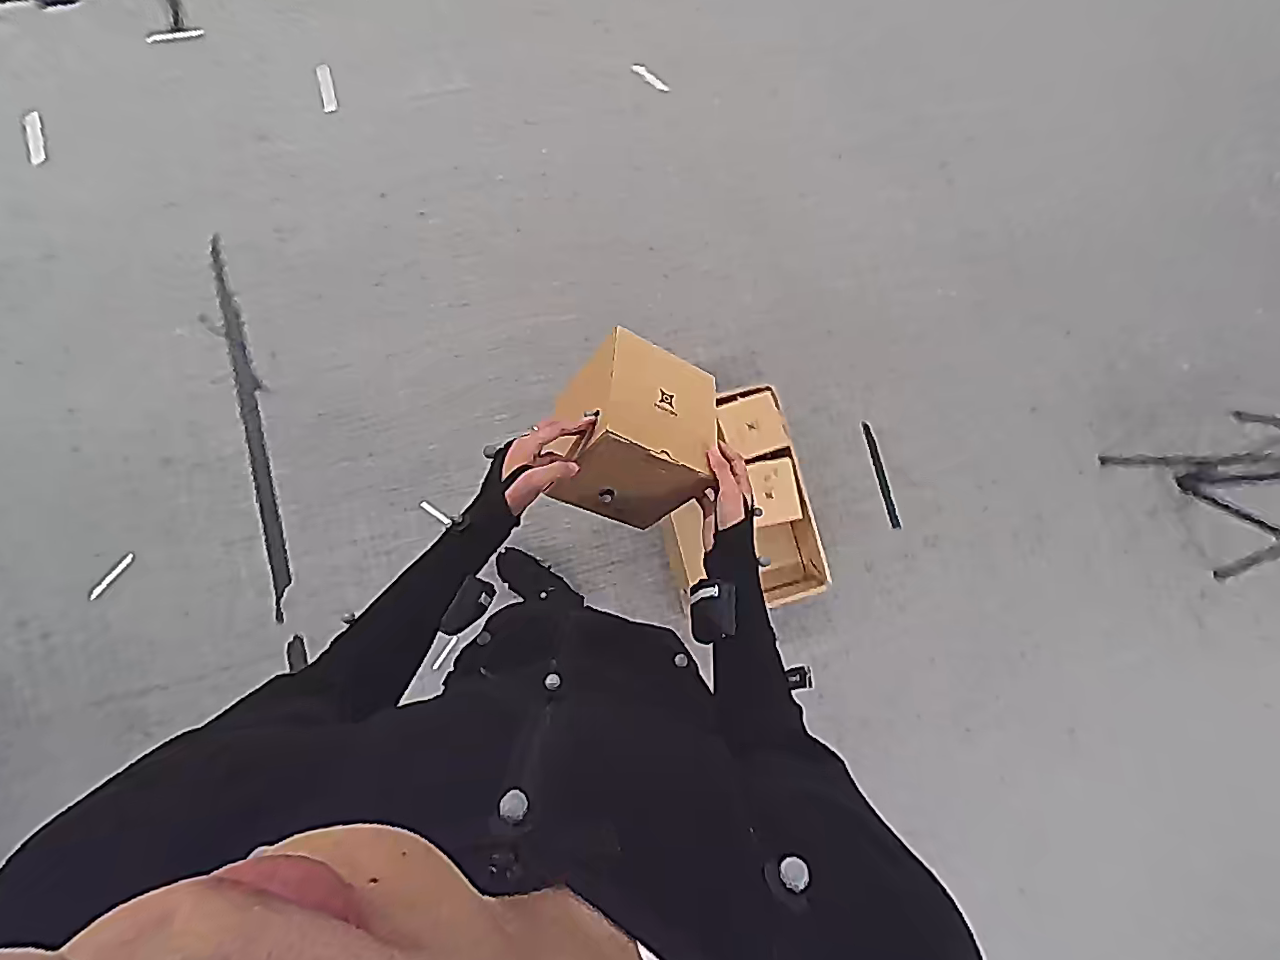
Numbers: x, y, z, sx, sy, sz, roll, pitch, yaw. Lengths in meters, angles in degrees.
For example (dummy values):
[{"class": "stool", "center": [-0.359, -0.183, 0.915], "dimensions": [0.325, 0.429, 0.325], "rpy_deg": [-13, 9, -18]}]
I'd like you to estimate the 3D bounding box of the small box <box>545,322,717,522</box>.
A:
[{"class": "small box", "center": [-0.016, -0.068, 0.728], "dimensions": [0.168, 0.176, 0.179], "rpy_deg": [20, 54, -27]}]
